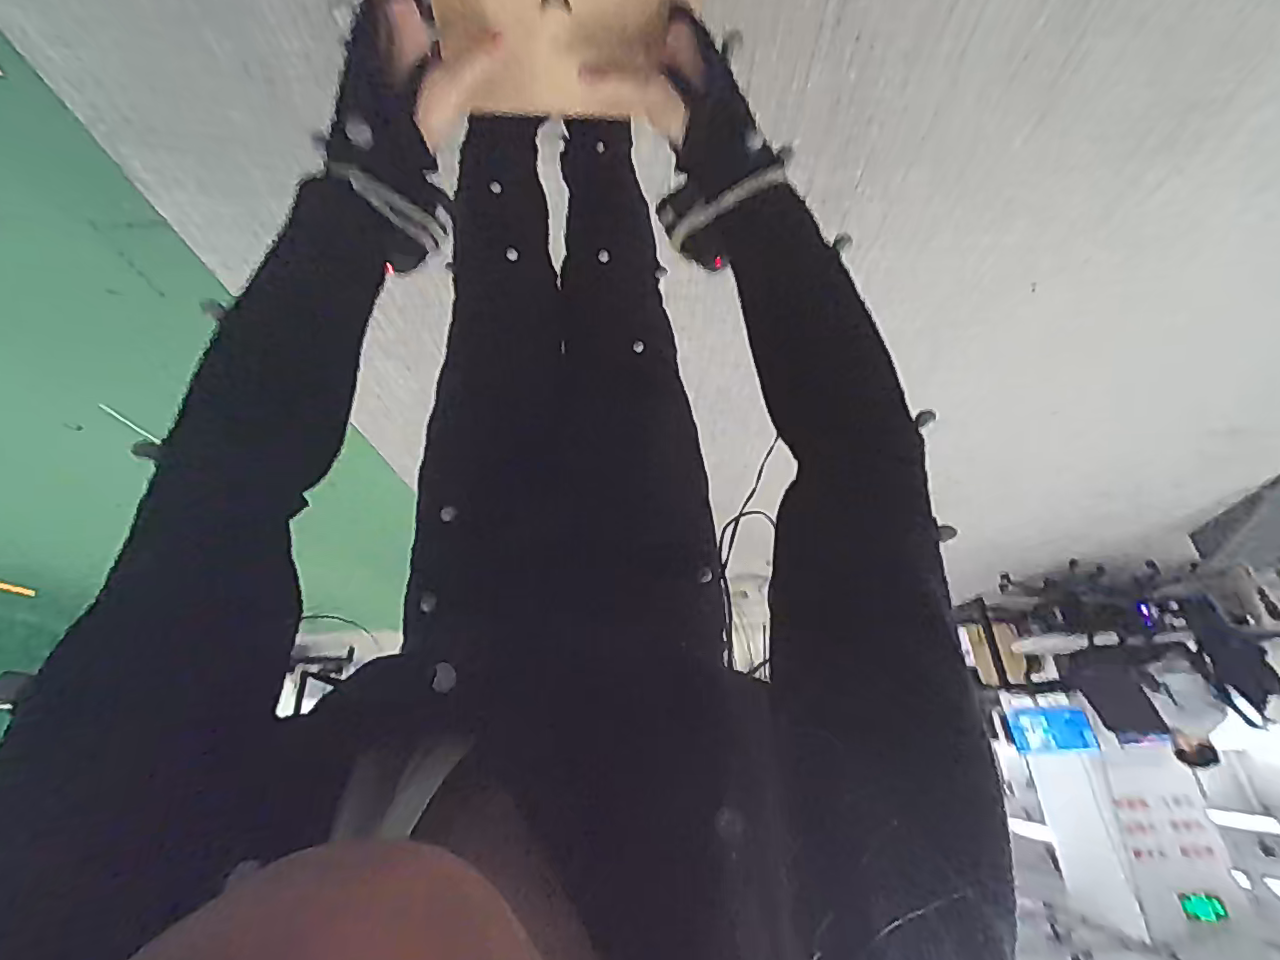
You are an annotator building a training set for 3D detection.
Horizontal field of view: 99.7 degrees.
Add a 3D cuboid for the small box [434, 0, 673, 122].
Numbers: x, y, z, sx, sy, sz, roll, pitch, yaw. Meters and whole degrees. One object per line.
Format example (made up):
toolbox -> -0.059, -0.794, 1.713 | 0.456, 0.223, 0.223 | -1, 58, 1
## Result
small box -> -0.065, -0.405, 0.397 | 0.168, 0.176, 0.179 | -3, 153, -8
